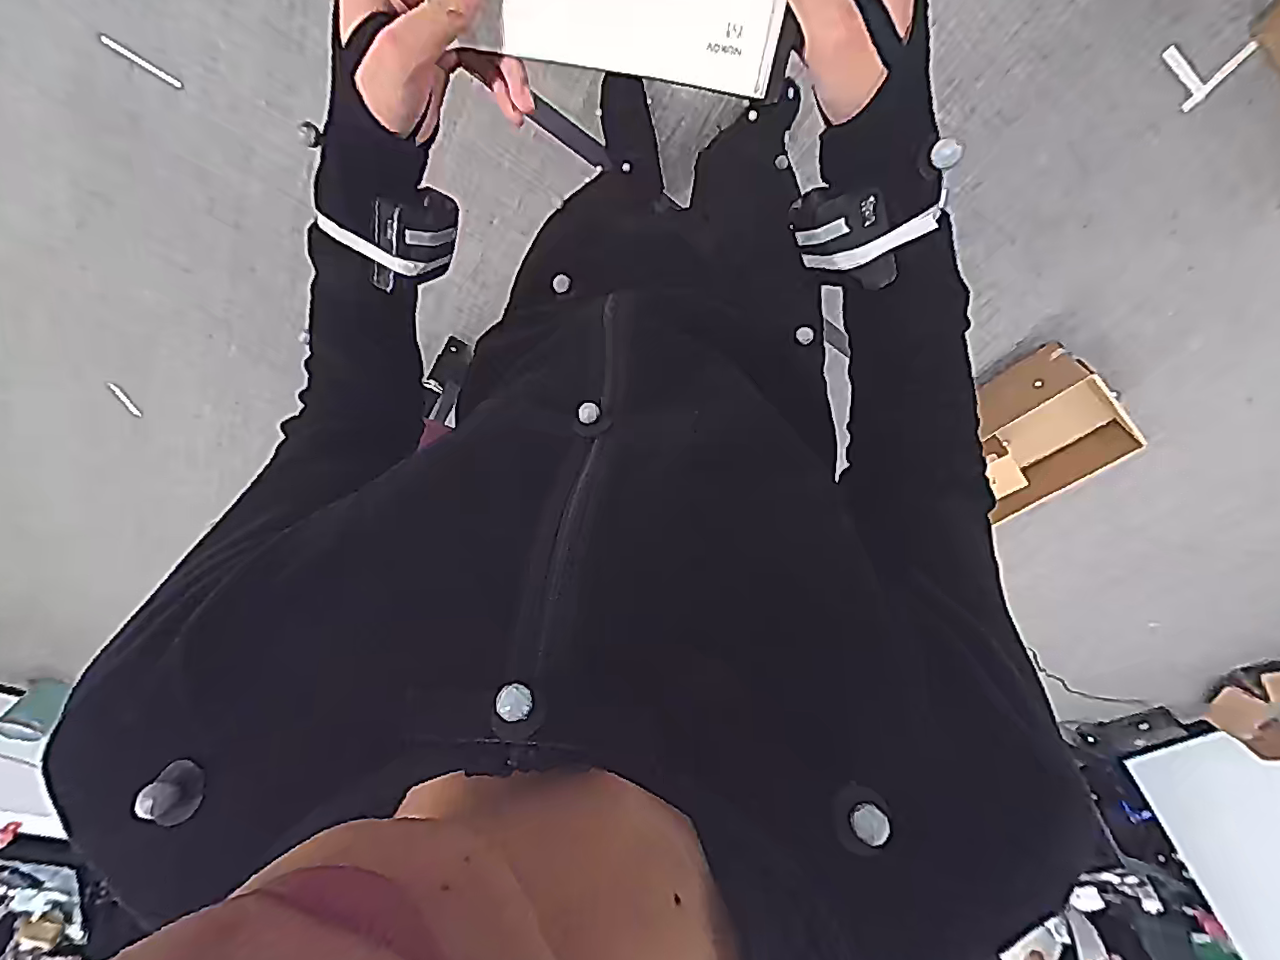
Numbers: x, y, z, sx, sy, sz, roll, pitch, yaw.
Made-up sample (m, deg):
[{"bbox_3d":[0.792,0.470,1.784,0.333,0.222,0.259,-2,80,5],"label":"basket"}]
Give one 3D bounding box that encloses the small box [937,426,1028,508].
[{"bbox_3d":[1.095,-0.050,1.741,0.168,0.176,0.179,-34,123,28],"label":"small box"}]
